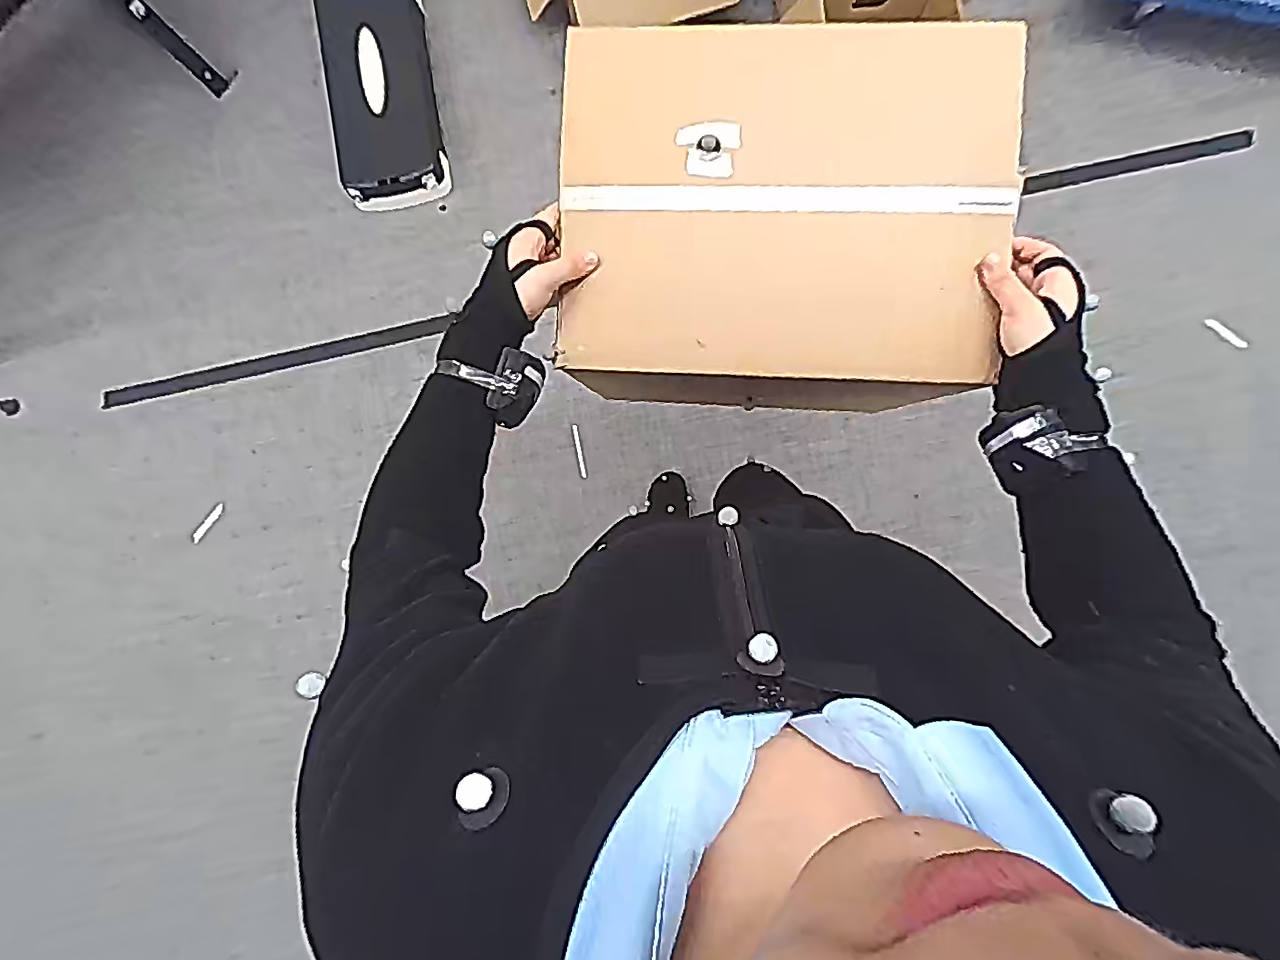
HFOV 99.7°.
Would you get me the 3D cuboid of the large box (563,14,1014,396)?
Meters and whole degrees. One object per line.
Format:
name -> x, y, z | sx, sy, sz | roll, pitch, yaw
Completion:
large box -> 0.143, -0.269, 0.647 | 0.408, 0.320, 0.320 | 3, 92, 6
